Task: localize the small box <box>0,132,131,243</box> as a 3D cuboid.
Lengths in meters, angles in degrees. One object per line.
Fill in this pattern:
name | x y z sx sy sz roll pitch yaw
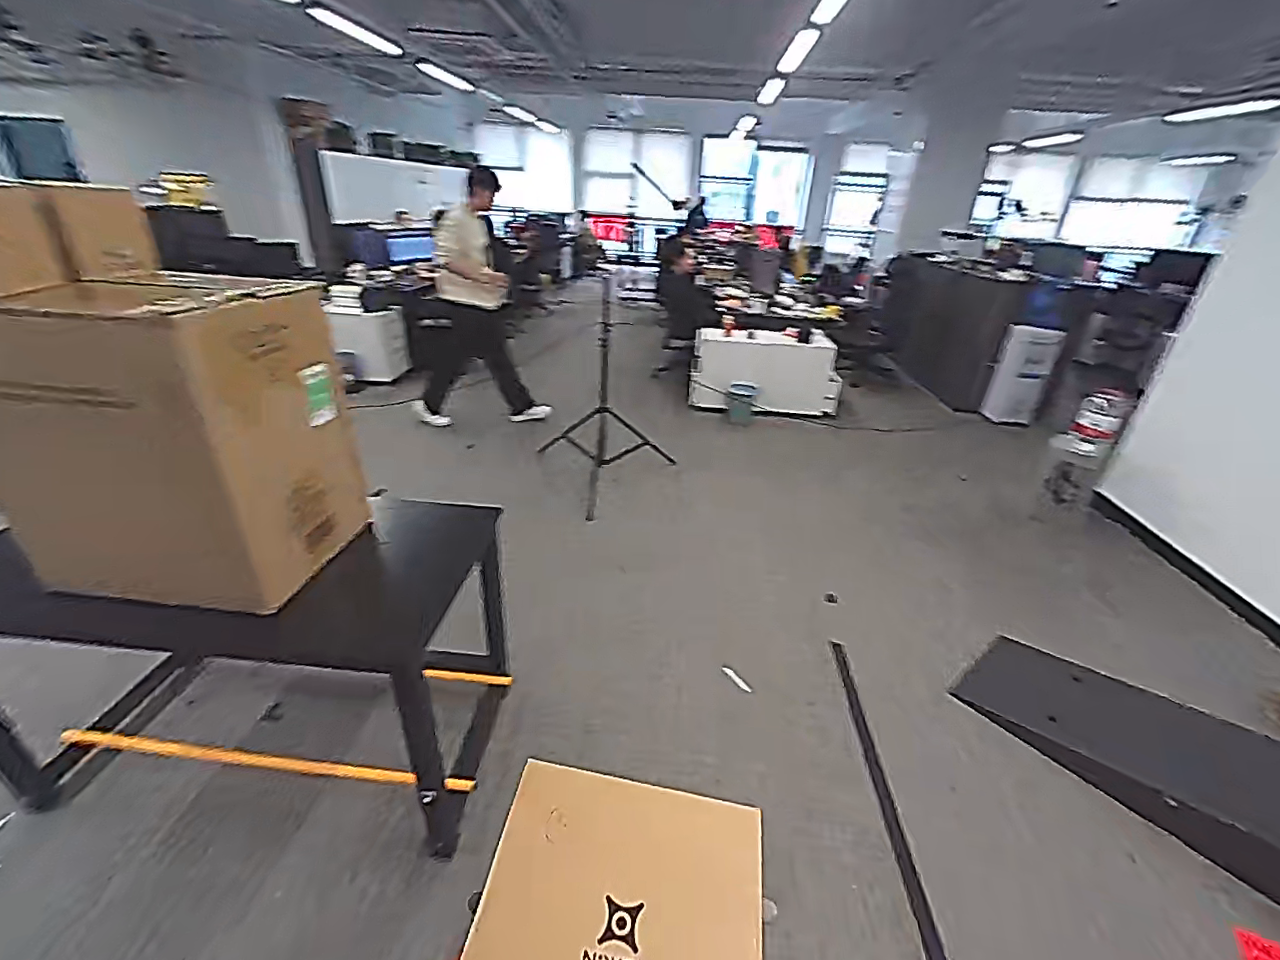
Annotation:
small box | -1.116 -0.537 1.000 0.179 0.176 0.168 7 27 3
